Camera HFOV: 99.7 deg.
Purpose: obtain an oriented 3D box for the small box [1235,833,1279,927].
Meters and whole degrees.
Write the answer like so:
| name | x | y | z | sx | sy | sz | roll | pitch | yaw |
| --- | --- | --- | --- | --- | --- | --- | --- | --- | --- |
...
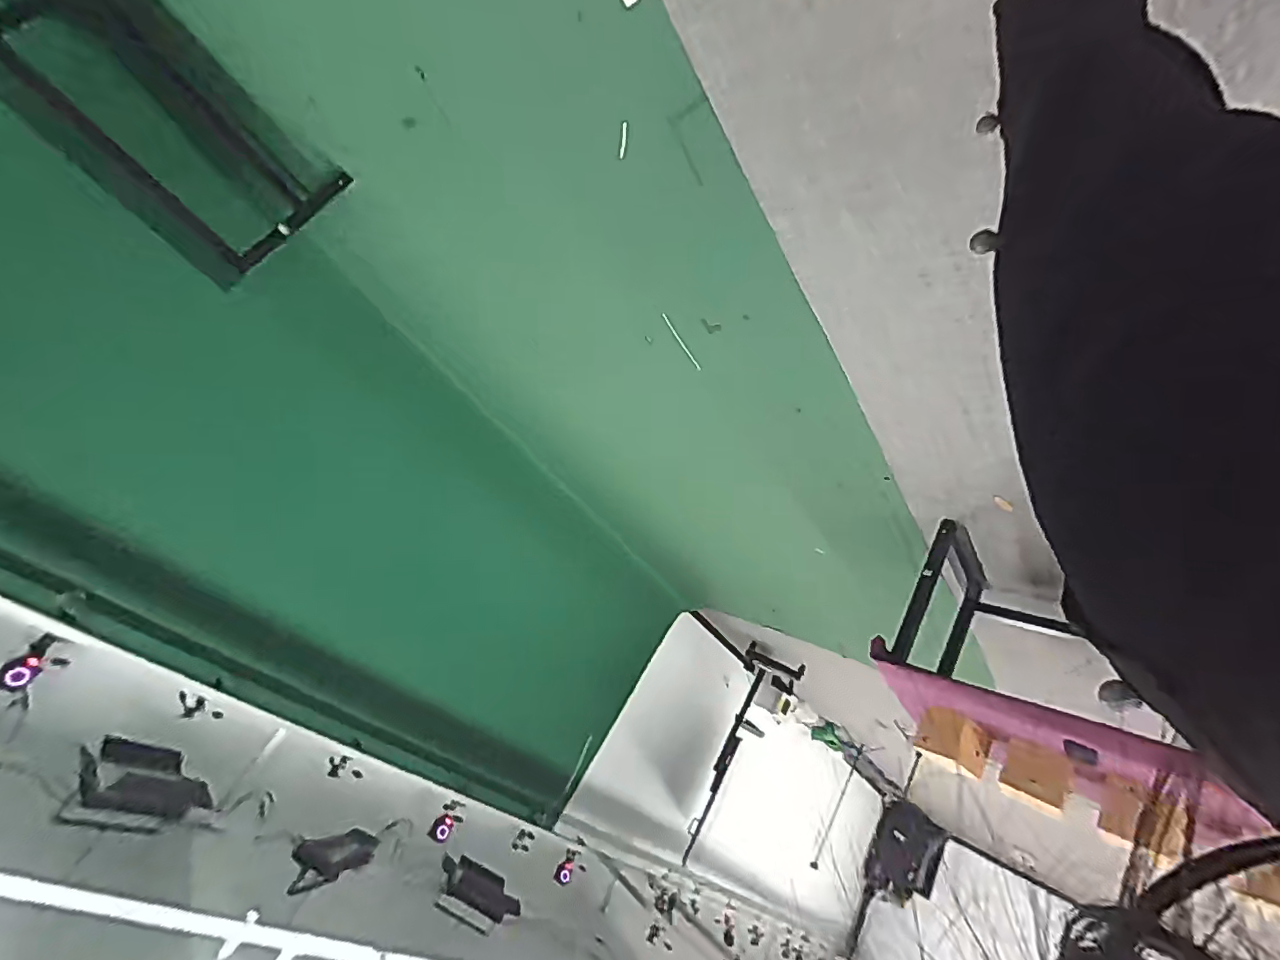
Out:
| name | x | y | z | sx | sy | sz | roll | pitch | yaw |
| --- | --- | --- | --- | --- | --- | --- | --- | --- | --- |
| small box | 1.694 | 1.065 | 1.410 | 0.168 | 0.176 | 0.179 | 10 | 148 | 48 |

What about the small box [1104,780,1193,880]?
| name | x | y | z | sx | sy | sz | roll | pitch | yaw |
| --- | --- | --- | --- | --- | --- | --- | --- | --- | --- |
| small box | 1.519 | 1.037 | 1.612 | 0.168 | 0.176 | 0.179 | 5 | 144 | 52 |

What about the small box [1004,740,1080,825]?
| name | x | y | z | sx | sy | sz | roll | pitch | yaw |
| --- | --- | --- | --- | --- | --- | --- | --- | --- | --- |
| small box | 1.345 | 1.003 | 1.802 | 0.179 | 0.176 | 0.168 | 12 | 149 | 46 |

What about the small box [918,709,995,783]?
| name | x | y | z | sx | sy | sz | roll | pitch | yaw |
| --- | --- | --- | --- | --- | --- | --- | --- | --- | --- |
| small box | 1.172 | 0.971 | 1.991 | 0.168 | 0.176 | 0.179 | 40 | 159 | -15 |
